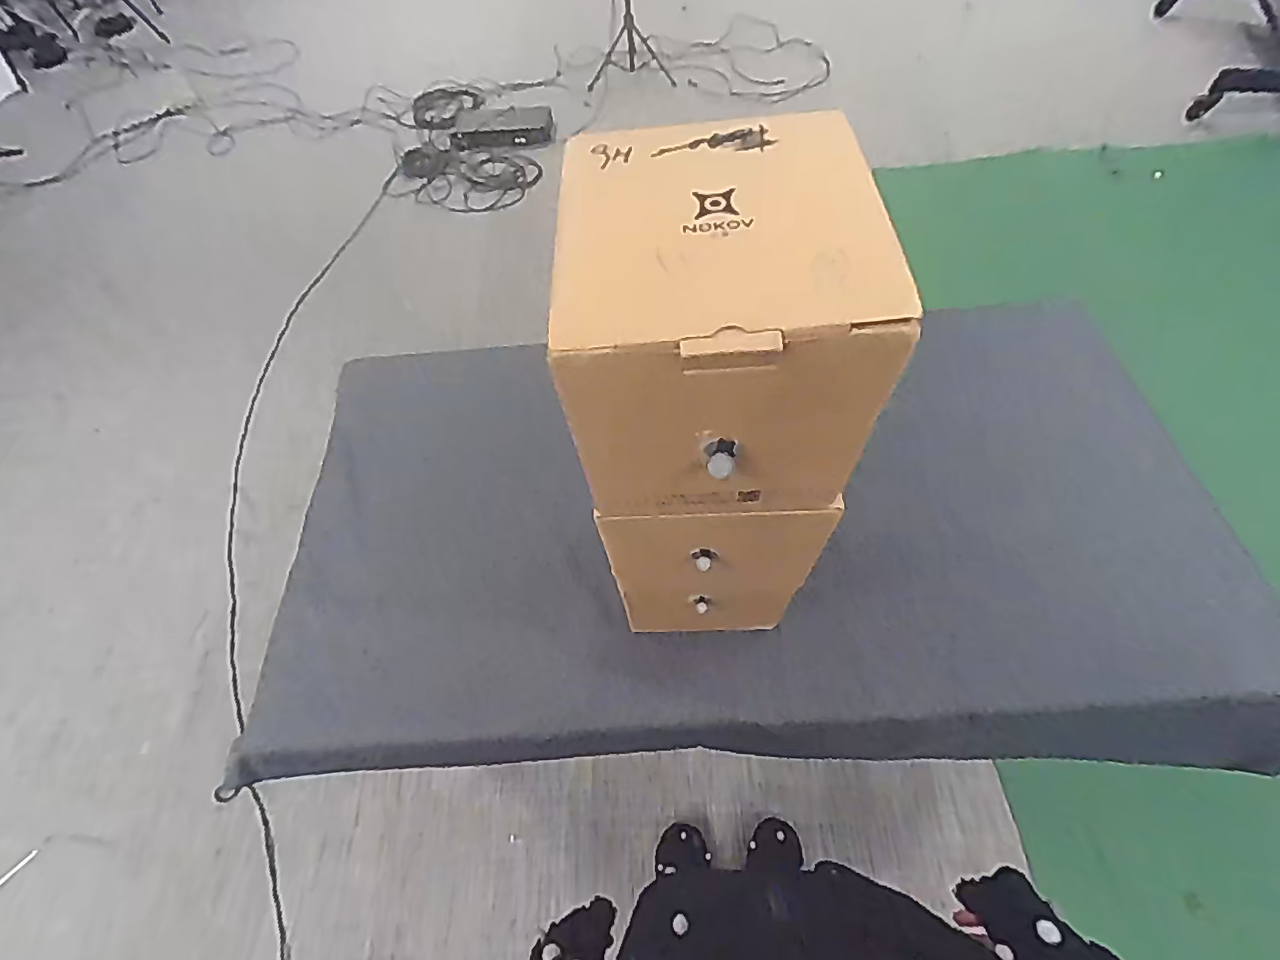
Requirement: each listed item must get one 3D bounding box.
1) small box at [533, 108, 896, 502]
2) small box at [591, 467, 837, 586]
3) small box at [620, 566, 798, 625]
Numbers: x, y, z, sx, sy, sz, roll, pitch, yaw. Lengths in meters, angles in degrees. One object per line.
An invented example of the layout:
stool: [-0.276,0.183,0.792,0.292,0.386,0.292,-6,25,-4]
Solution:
small box: [0.038,-0.094,0.348,0.168,0.176,0.179,-4,61,4]
small box: [0.059,-0.009,0.487,0.179,0.176,0.168,-4,61,6]
small box: [0.073,0.067,0.632,0.179,0.176,0.168,-4,61,3]
